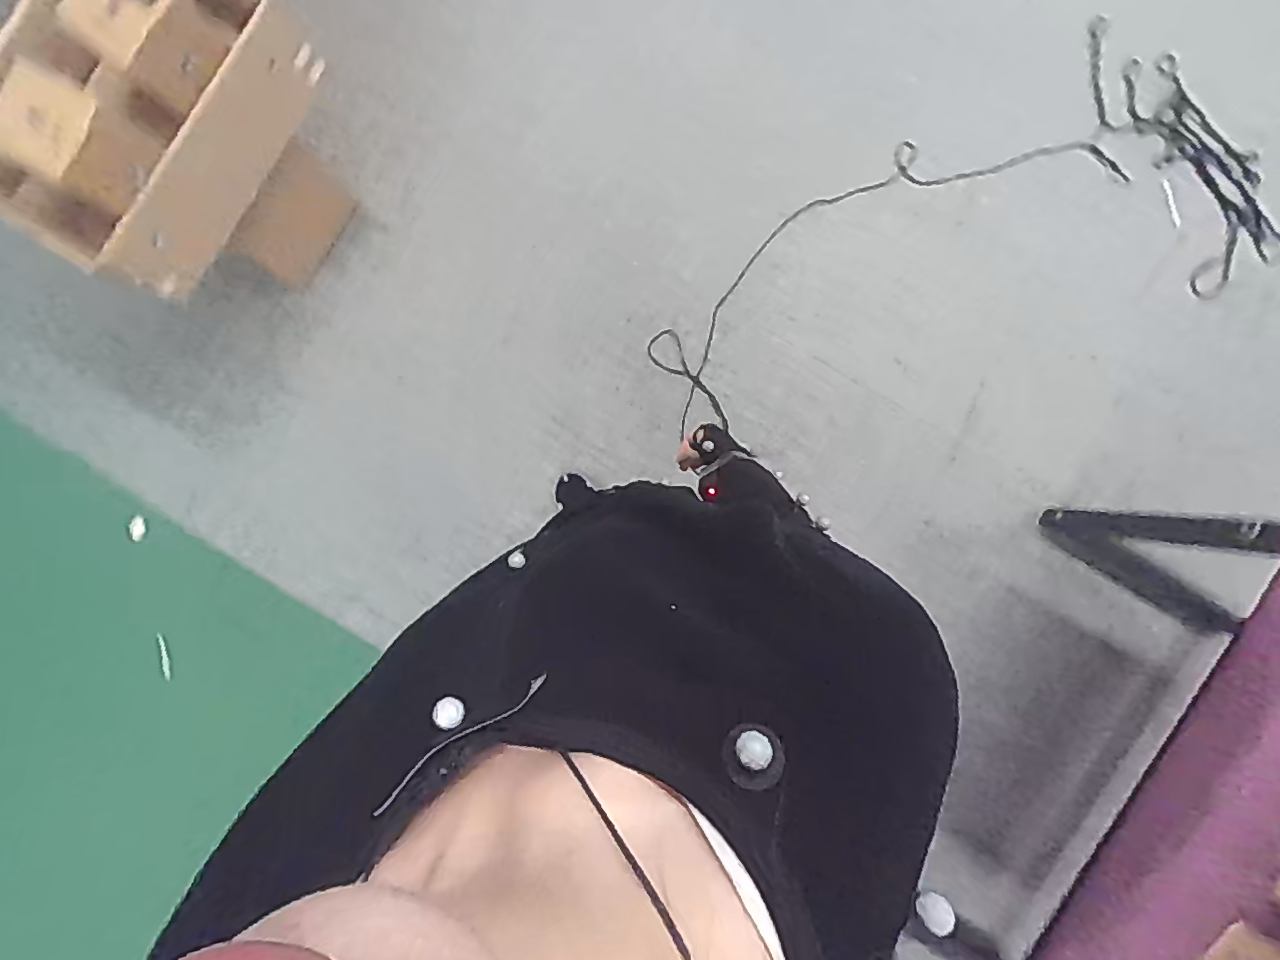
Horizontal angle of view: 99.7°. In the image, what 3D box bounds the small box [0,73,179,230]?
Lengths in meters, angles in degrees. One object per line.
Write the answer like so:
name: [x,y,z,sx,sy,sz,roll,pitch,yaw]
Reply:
small box: [-1.072,-0.622,1.049,0.179,0.176,0.168,28,89,1]
